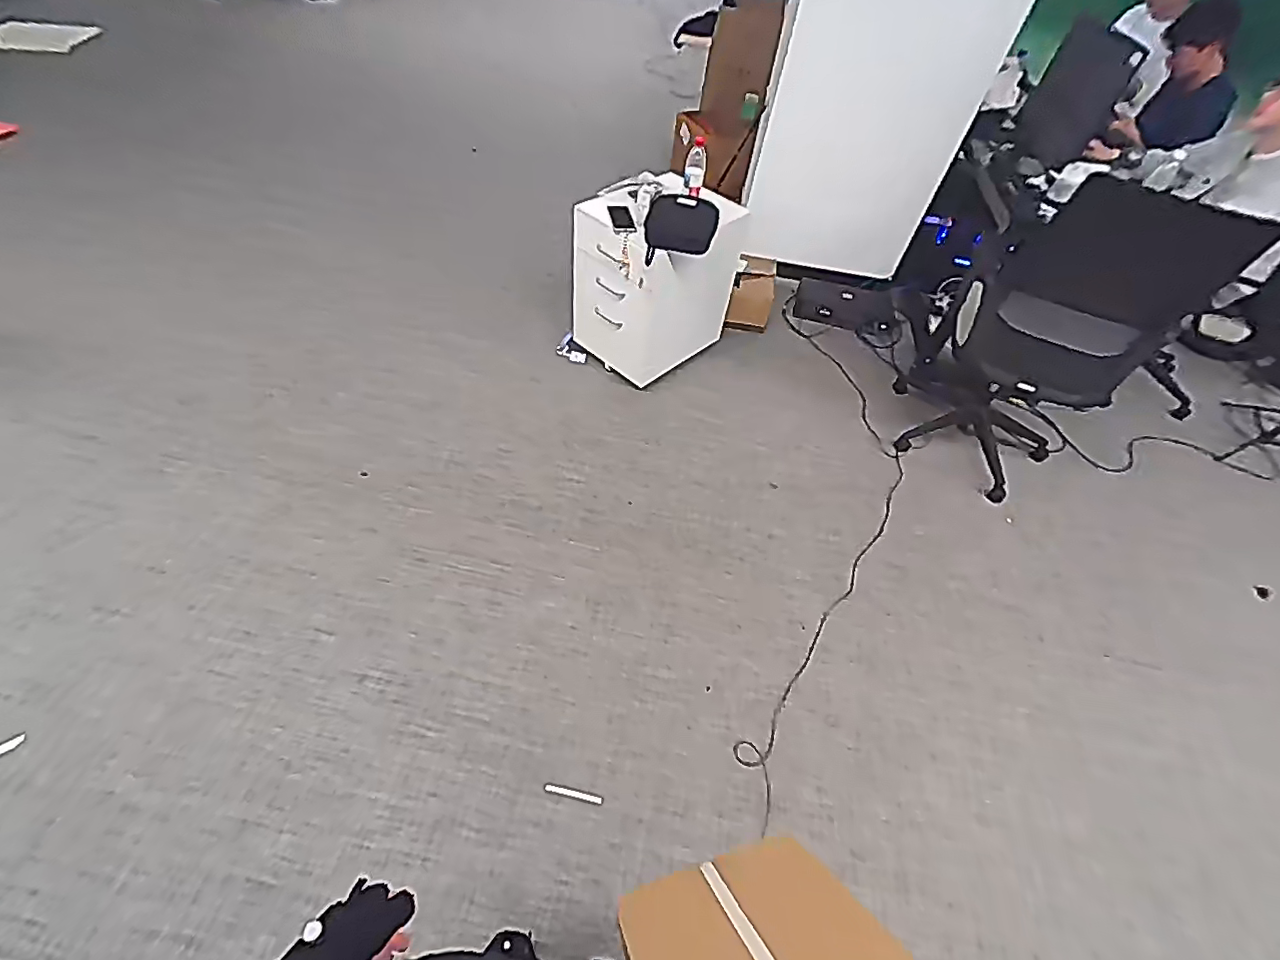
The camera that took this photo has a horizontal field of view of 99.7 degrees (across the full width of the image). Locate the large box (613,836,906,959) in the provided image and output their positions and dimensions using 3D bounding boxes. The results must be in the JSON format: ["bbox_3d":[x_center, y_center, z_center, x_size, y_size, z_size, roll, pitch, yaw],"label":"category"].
[{"bbox_3d":[0.180,0.757,0.687,0.320,0.408,0.320,-12,86,-15],"label":"large box"}]
